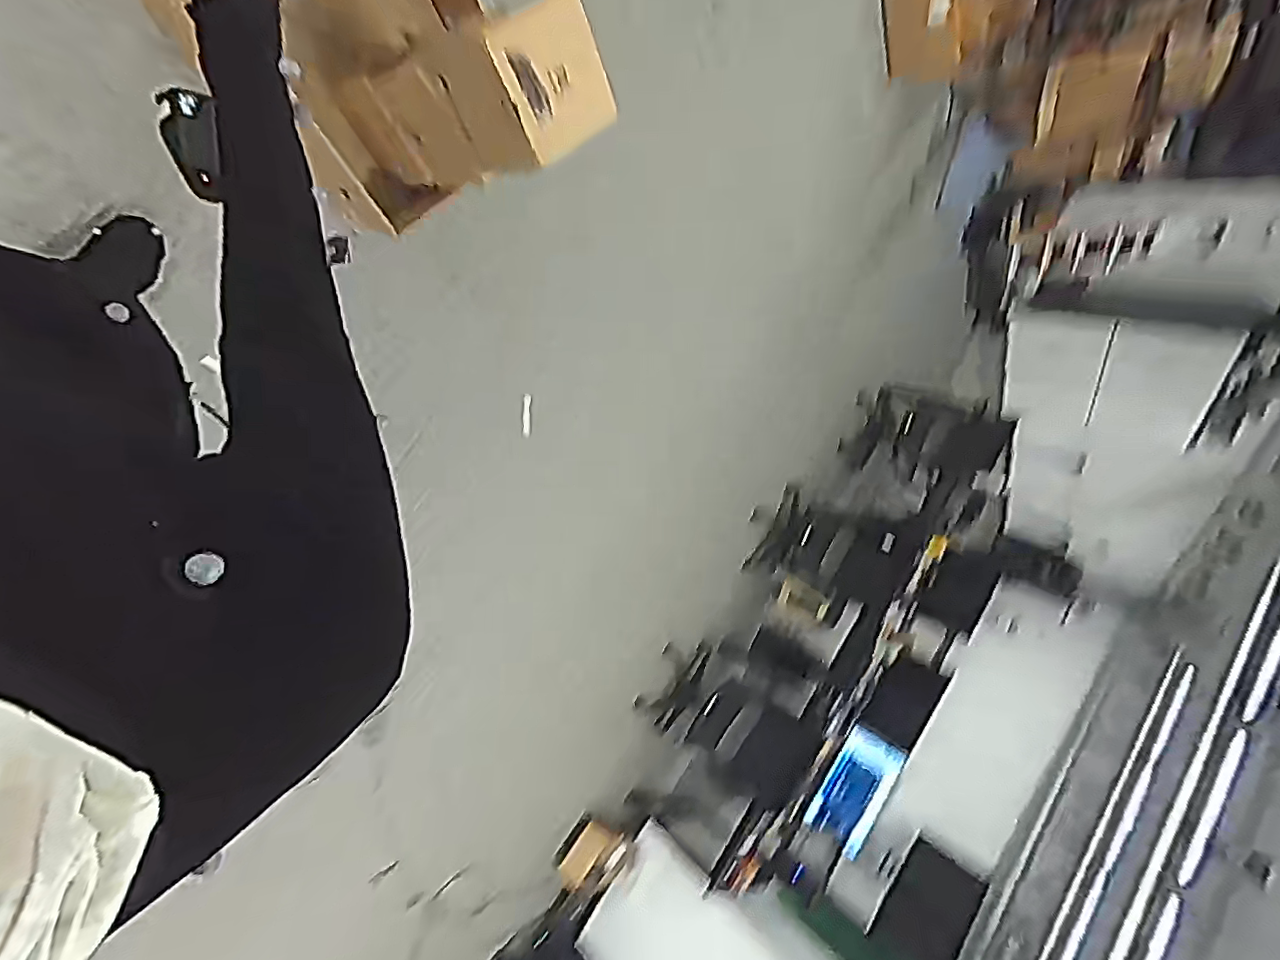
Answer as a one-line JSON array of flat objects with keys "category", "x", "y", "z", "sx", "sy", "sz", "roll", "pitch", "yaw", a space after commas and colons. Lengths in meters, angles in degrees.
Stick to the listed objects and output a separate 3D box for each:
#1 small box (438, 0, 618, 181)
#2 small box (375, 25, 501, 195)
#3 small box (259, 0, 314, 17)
[{"category": "small box", "x": -0.170, "y": -0.565, "z": 0.802, "sx": 0.179, "sy": 0.176, "sz": 0.168, "roll": -48, "pitch": 138, "yaw": -21}, {"category": "small box", "x": -0.295, "y": -0.607, "z": 0.902, "sx": 0.168, "sy": 0.176, "sz": 0.179, "roll": -51, "pitch": 139, "yaw": -17}, {"category": "small box", "x": -0.521, "y": -0.832, "z": 0.801, "sx": 0.179, "sy": 0.176, "sz": 0.168, "roll": -51, "pitch": 139, "yaw": -18}]
